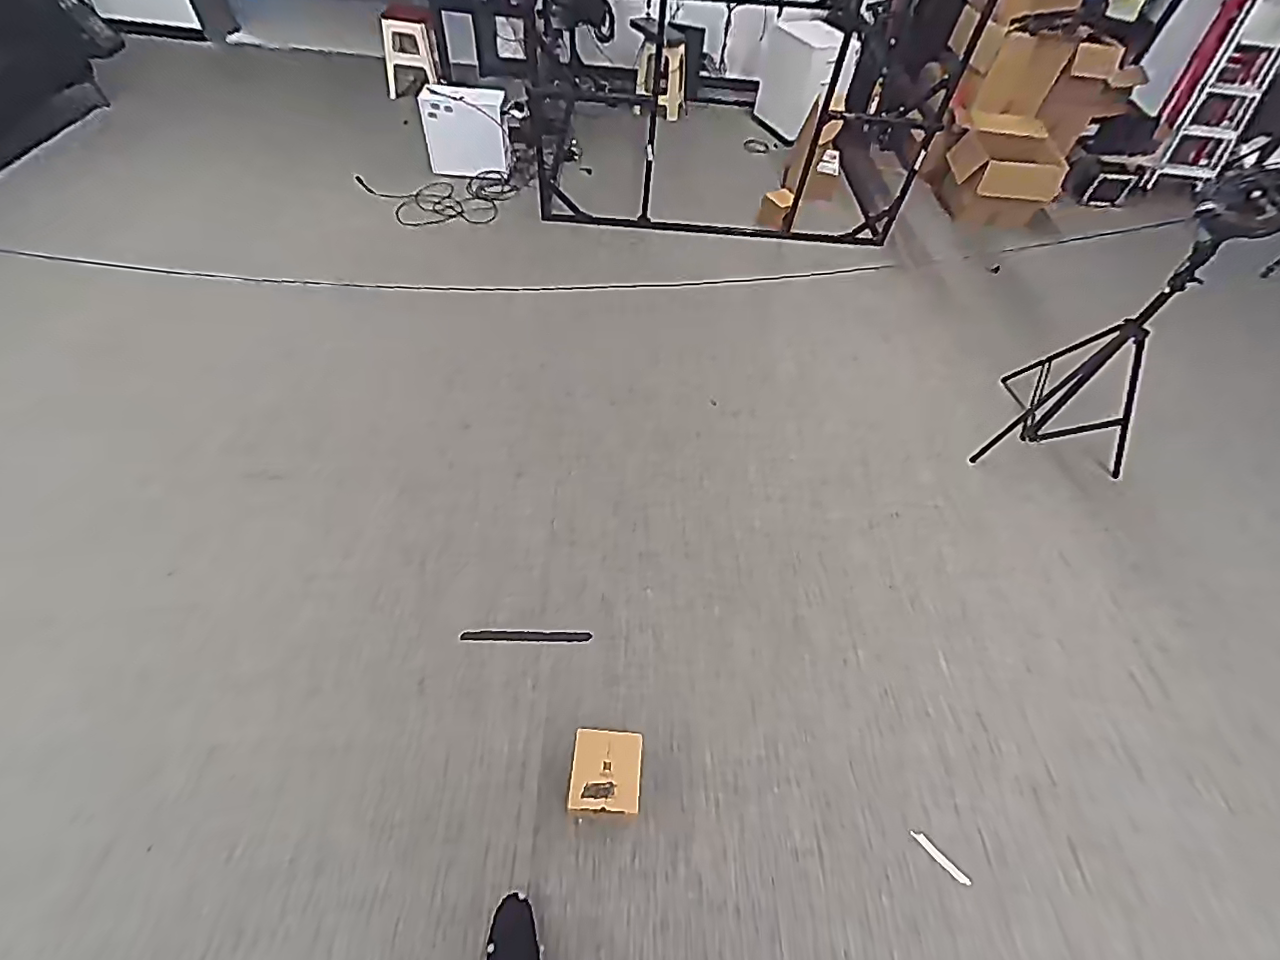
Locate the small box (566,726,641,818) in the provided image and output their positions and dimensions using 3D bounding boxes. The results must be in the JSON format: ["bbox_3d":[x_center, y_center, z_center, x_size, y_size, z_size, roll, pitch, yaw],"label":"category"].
[{"bbox_3d":[-0.090,0.737,1.358,0.168,0.176,0.179,6,52,-2],"label":"small box"}]
